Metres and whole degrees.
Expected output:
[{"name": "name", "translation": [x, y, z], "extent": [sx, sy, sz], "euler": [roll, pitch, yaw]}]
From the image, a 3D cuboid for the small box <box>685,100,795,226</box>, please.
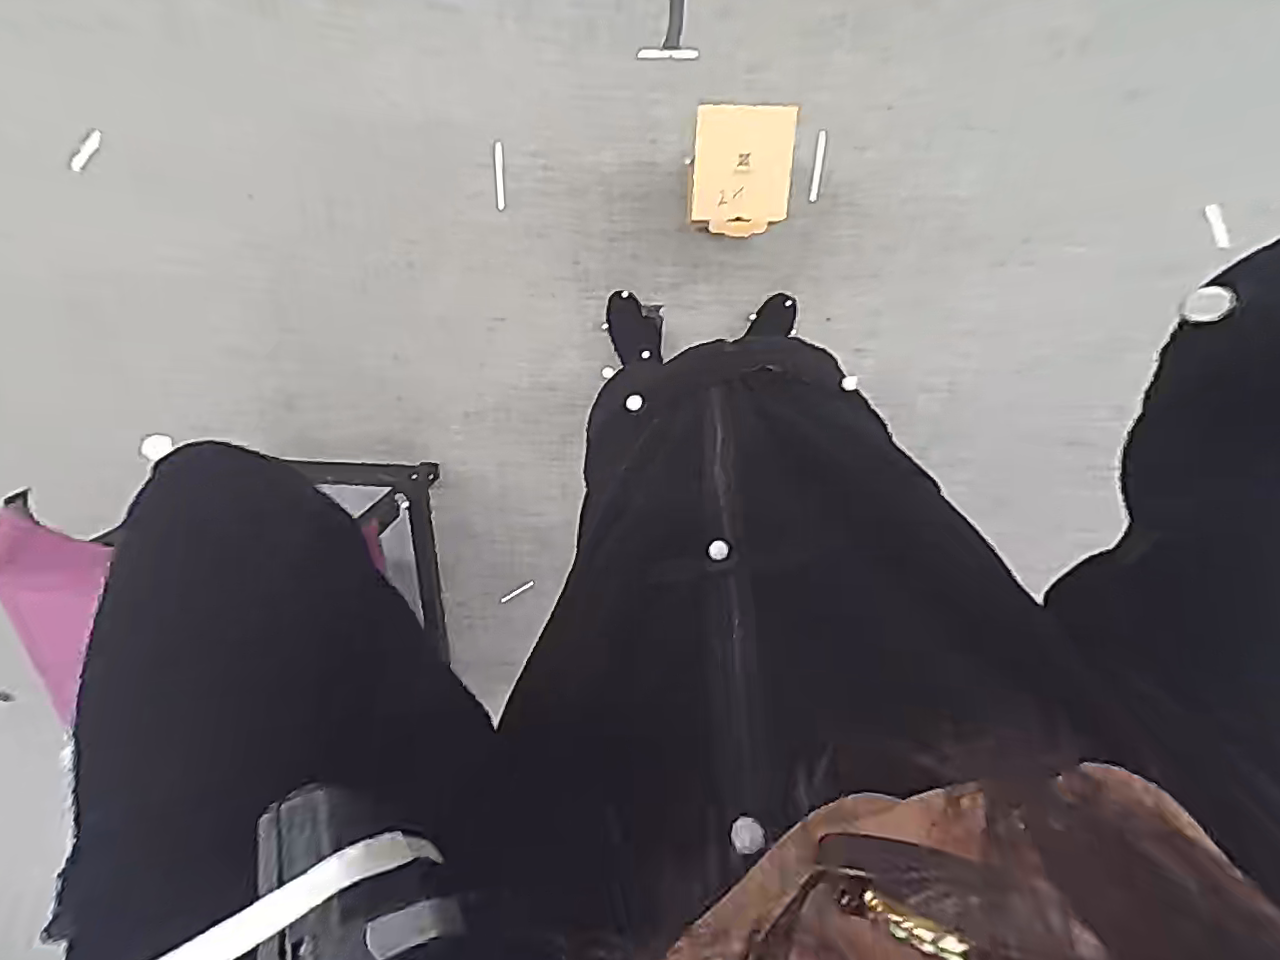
[{"name": "small box", "translation": [0.172, -0.569, 0.990], "extent": [0.168, 0.176, 0.179], "euler": [2, 113, 1]}]
